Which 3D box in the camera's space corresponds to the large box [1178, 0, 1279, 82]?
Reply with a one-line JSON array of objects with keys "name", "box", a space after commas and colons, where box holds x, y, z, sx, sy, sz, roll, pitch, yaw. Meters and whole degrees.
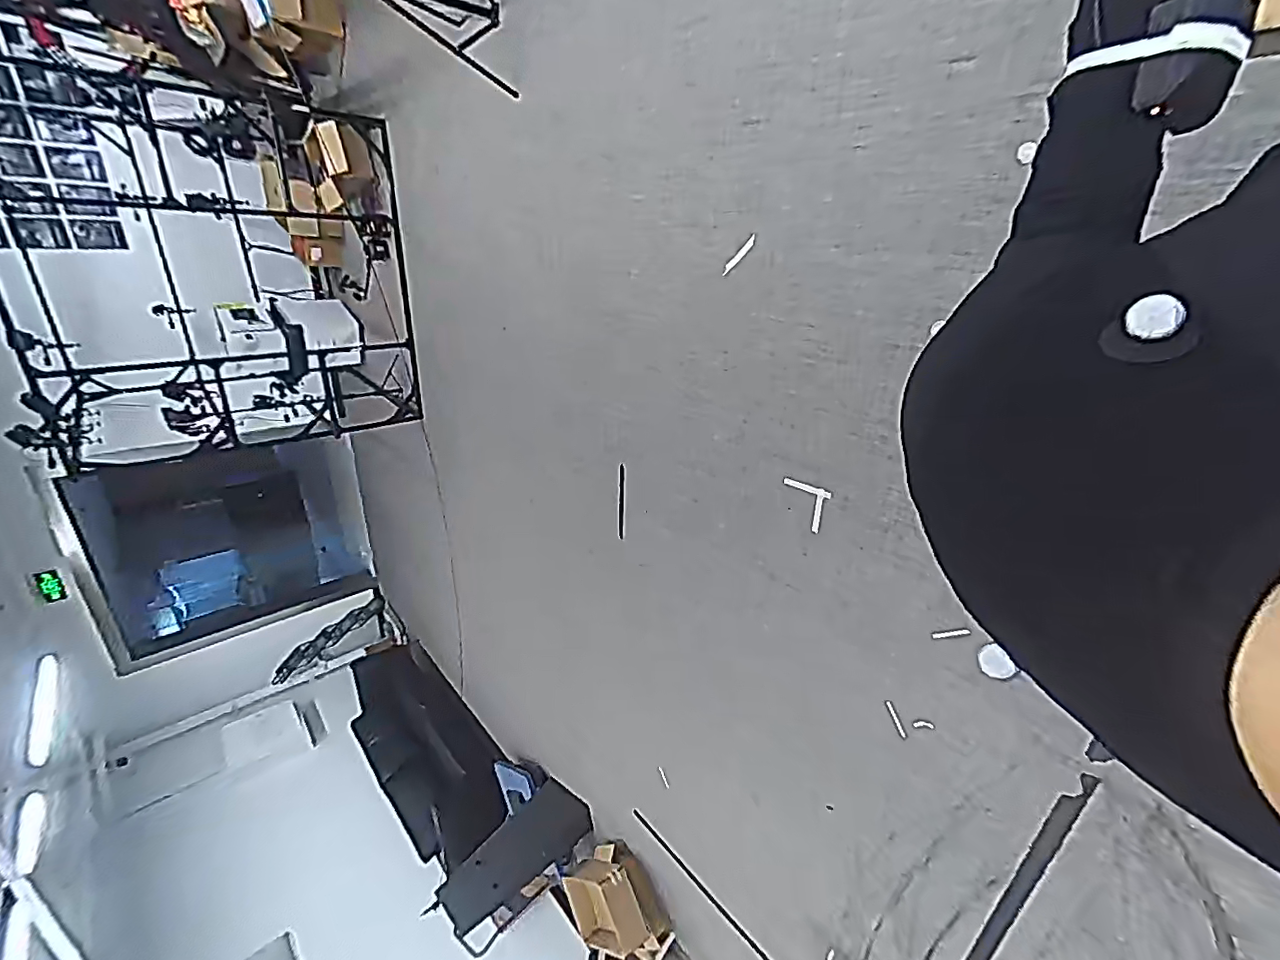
[{"name": "large box", "box": [0.595, -0.427, 0.261, 0.408, 0.320, 0.320, 21, 130, 42]}]
